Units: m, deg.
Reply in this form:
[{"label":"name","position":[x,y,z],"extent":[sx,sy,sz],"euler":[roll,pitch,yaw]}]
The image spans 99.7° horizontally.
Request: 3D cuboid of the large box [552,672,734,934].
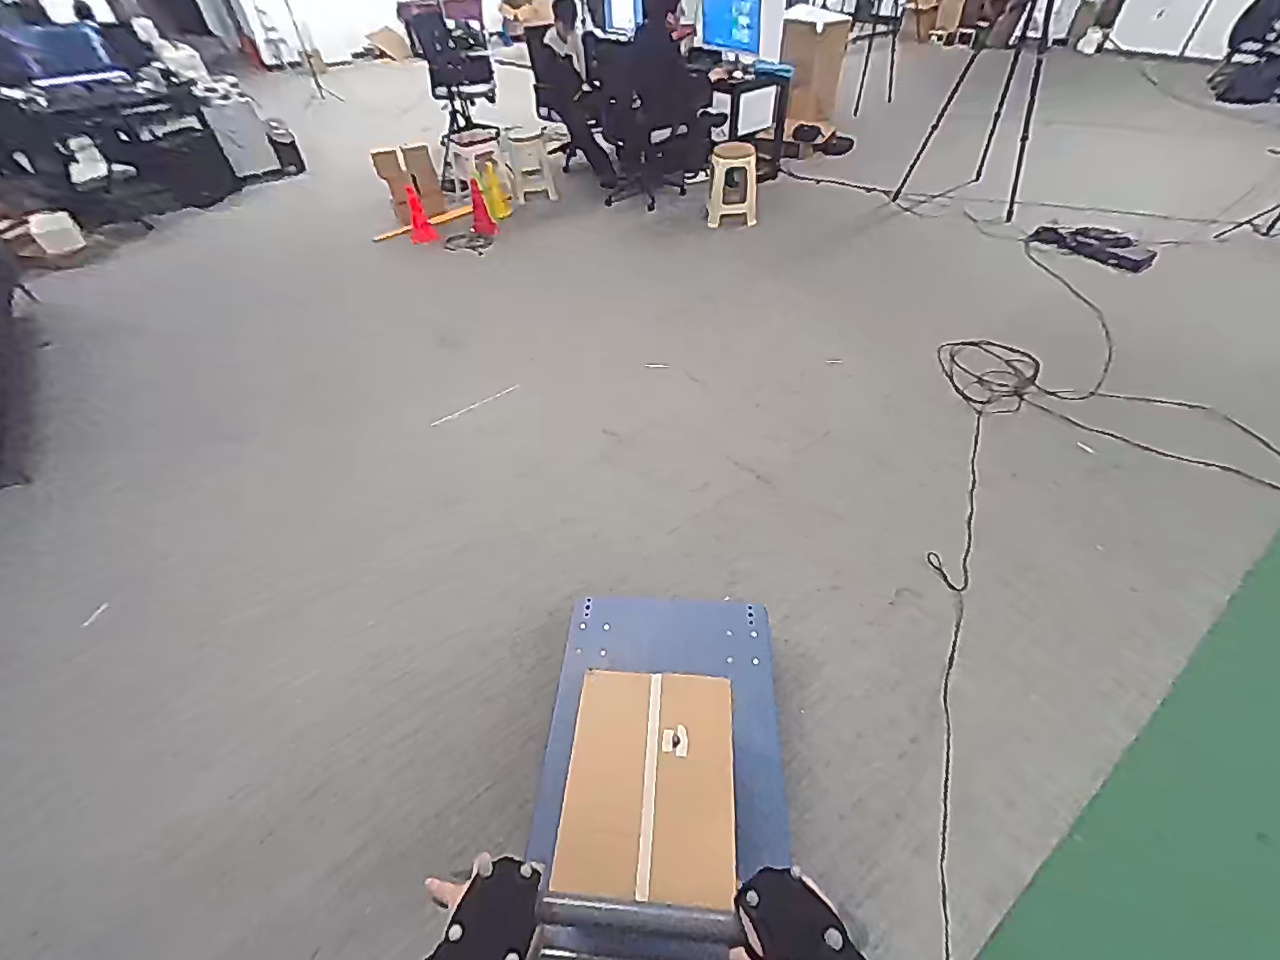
[{"label":"large box","position":[0.024,0.672,1.138],"extent":[0.320,0.320,0.408],"euler":[2,44,5]}]
